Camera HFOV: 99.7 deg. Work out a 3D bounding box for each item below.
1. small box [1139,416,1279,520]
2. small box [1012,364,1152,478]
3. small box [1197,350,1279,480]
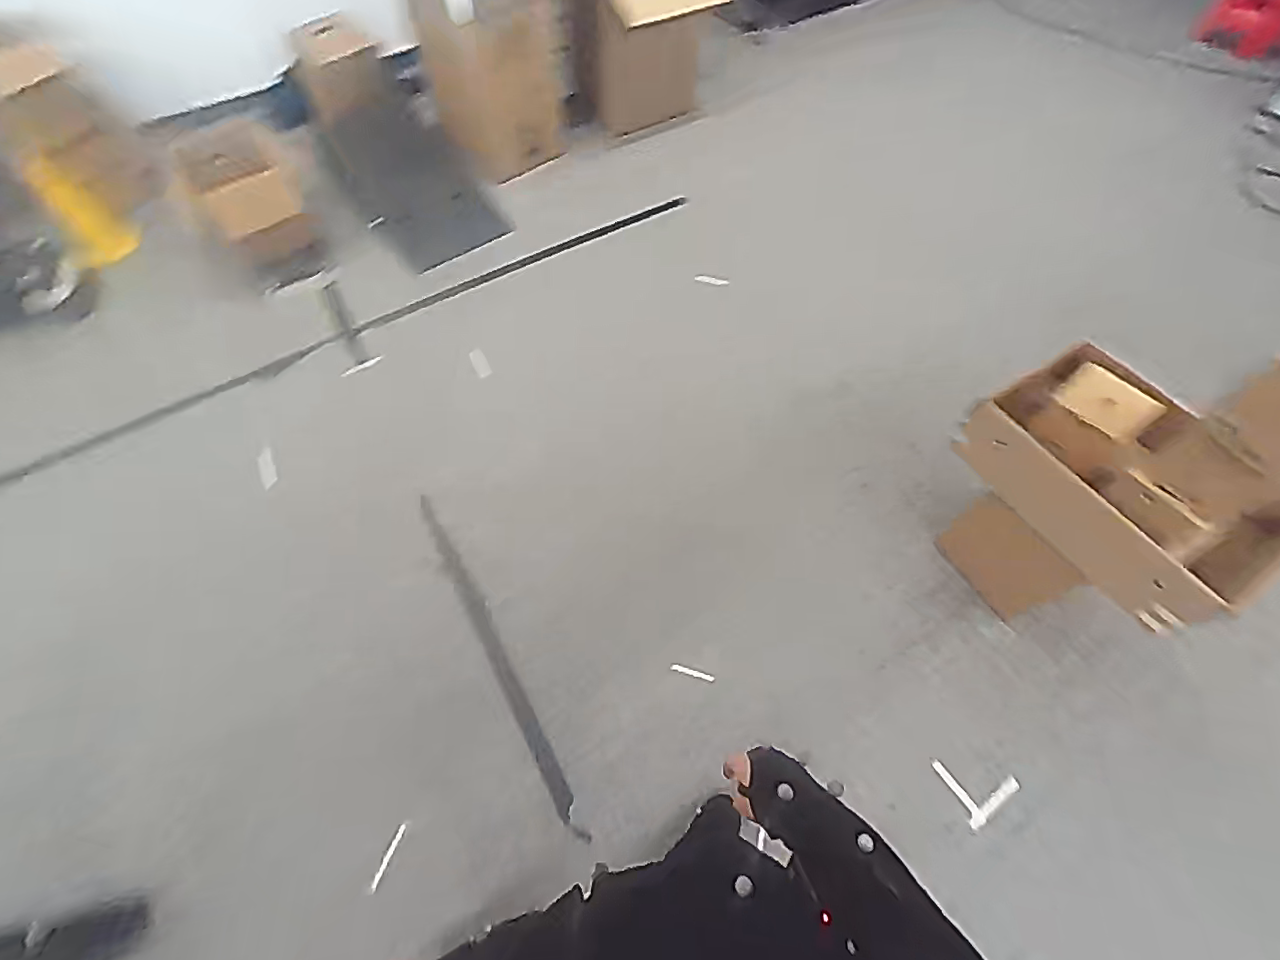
[{"bbox_3d":[1.164,-0.053,1.071,0.179,0.176,0.168,-27,60,-14],"label":"small box"},{"bbox_3d":[1.060,-0.140,1.312,0.179,0.176,0.168,-36,66,-18],"label":"small box"},{"bbox_3d":[1.131,-0.126,0.923,0.179,0.176,0.168,-22,59,-12],"label":"small box"}]
